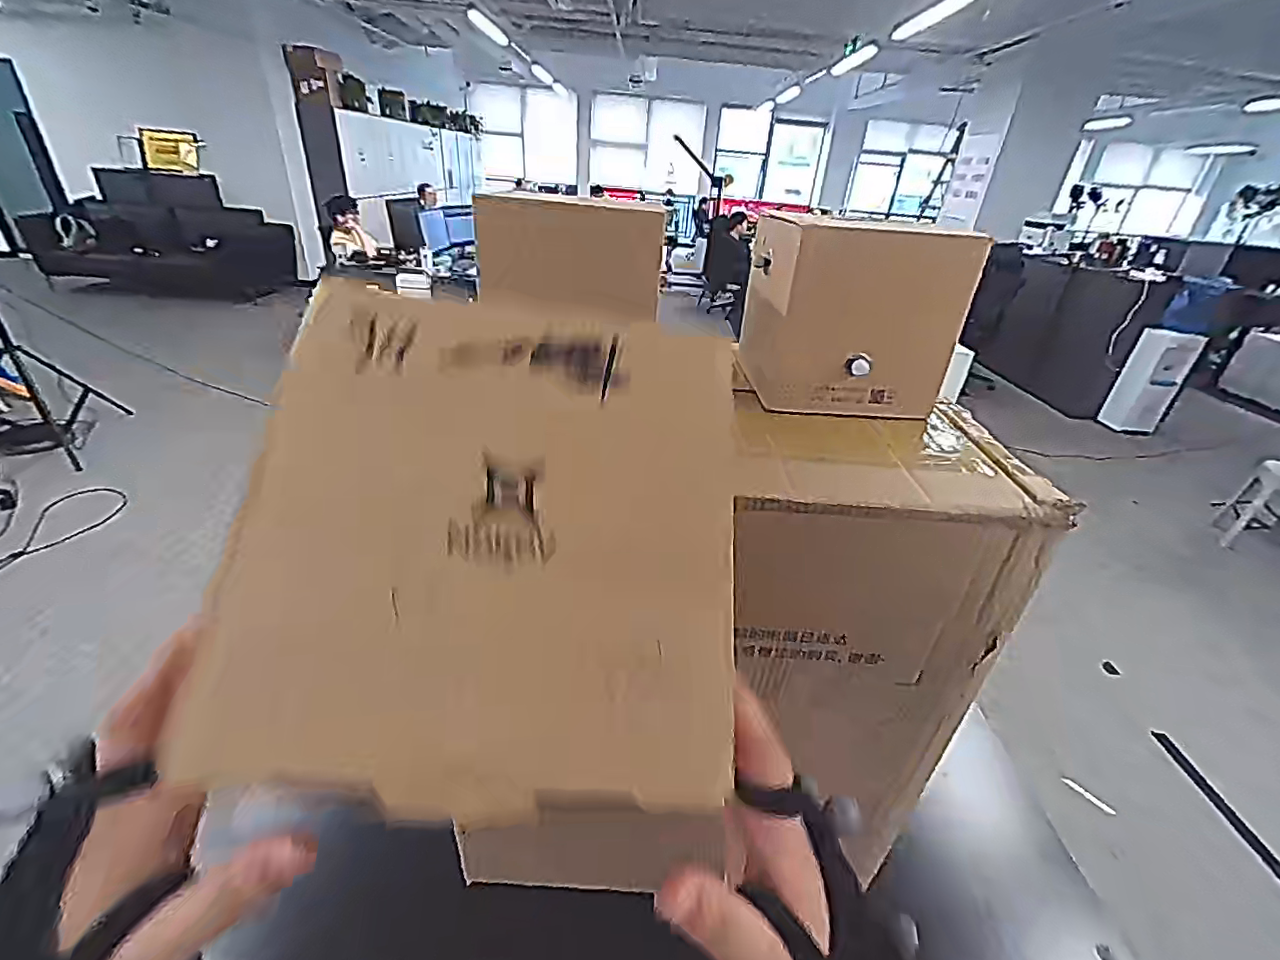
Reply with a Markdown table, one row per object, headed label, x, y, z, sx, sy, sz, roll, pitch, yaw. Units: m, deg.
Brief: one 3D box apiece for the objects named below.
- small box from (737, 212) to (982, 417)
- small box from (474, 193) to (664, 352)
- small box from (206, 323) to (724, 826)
| label | x | y | z | sx | sy | sz | roll | pitch | yaw |
| --- | --- | --- | --- | --- | --- | --- | --- | --- | --- |
| small box | 0.204 | -0.178 | 0.566 | 0.168 | 0.176 | 0.179 | 2 | 29 | -2 |
| small box | -0.067 | -0.199 | 0.570 | 0.168 | 0.176 | 0.179 | 3 | 30 | -3 |
| small box | -0.062 | 0.049 | 0.273 | 0.168 | 0.176 | 0.179 | 3 | 71 | -9 |
